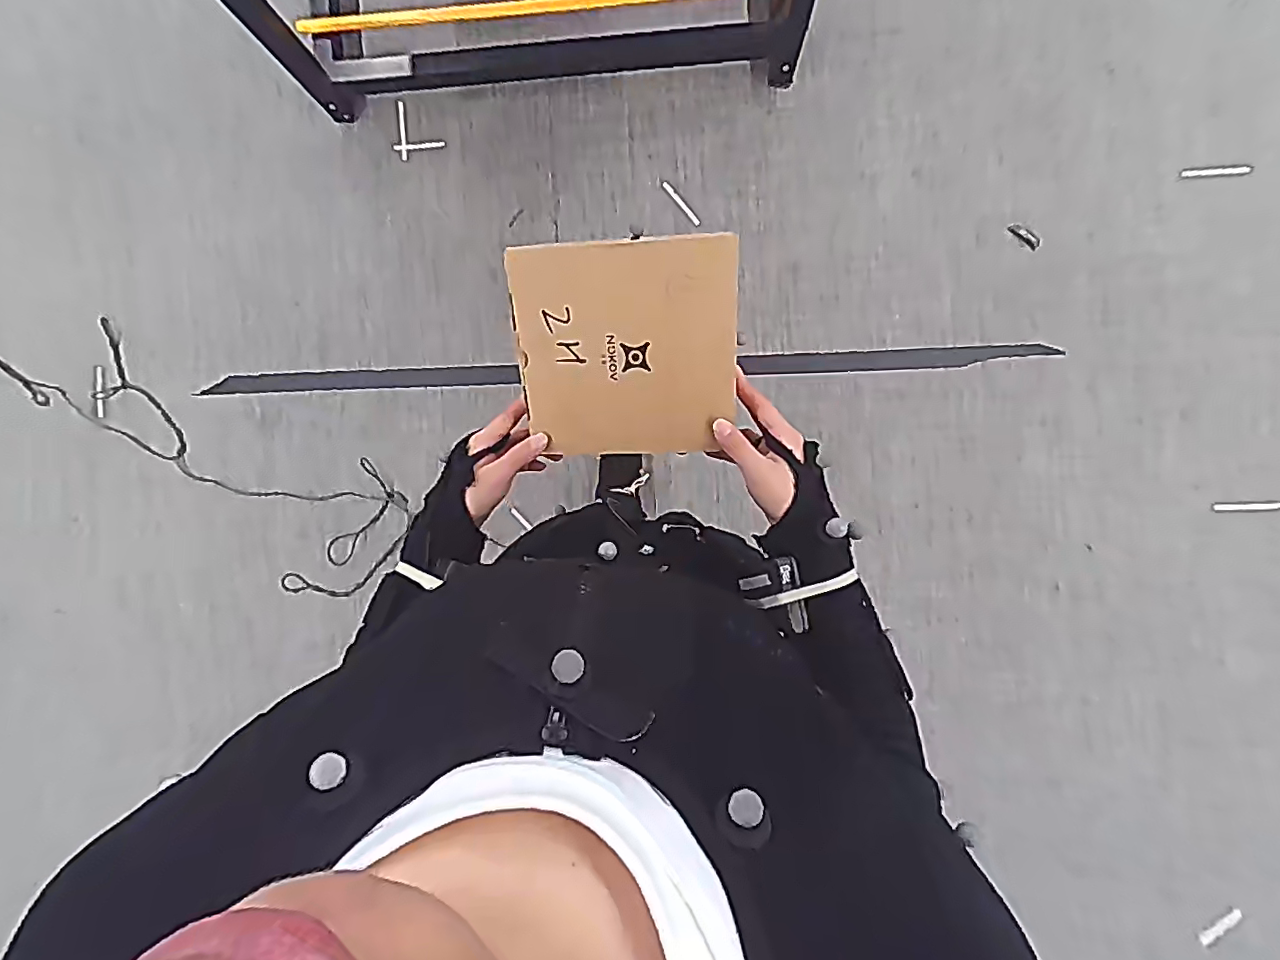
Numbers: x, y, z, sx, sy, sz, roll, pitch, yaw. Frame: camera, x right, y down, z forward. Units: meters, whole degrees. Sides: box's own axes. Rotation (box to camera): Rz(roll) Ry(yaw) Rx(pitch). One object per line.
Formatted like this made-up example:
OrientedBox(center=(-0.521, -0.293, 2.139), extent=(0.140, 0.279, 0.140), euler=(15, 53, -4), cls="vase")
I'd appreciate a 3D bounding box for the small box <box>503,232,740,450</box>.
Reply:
OrientedBox(center=(-0.005, -0.133, 0.494), extent=(0.179, 0.176, 0.168), euler=(0, 114, 7), cls="small box")
